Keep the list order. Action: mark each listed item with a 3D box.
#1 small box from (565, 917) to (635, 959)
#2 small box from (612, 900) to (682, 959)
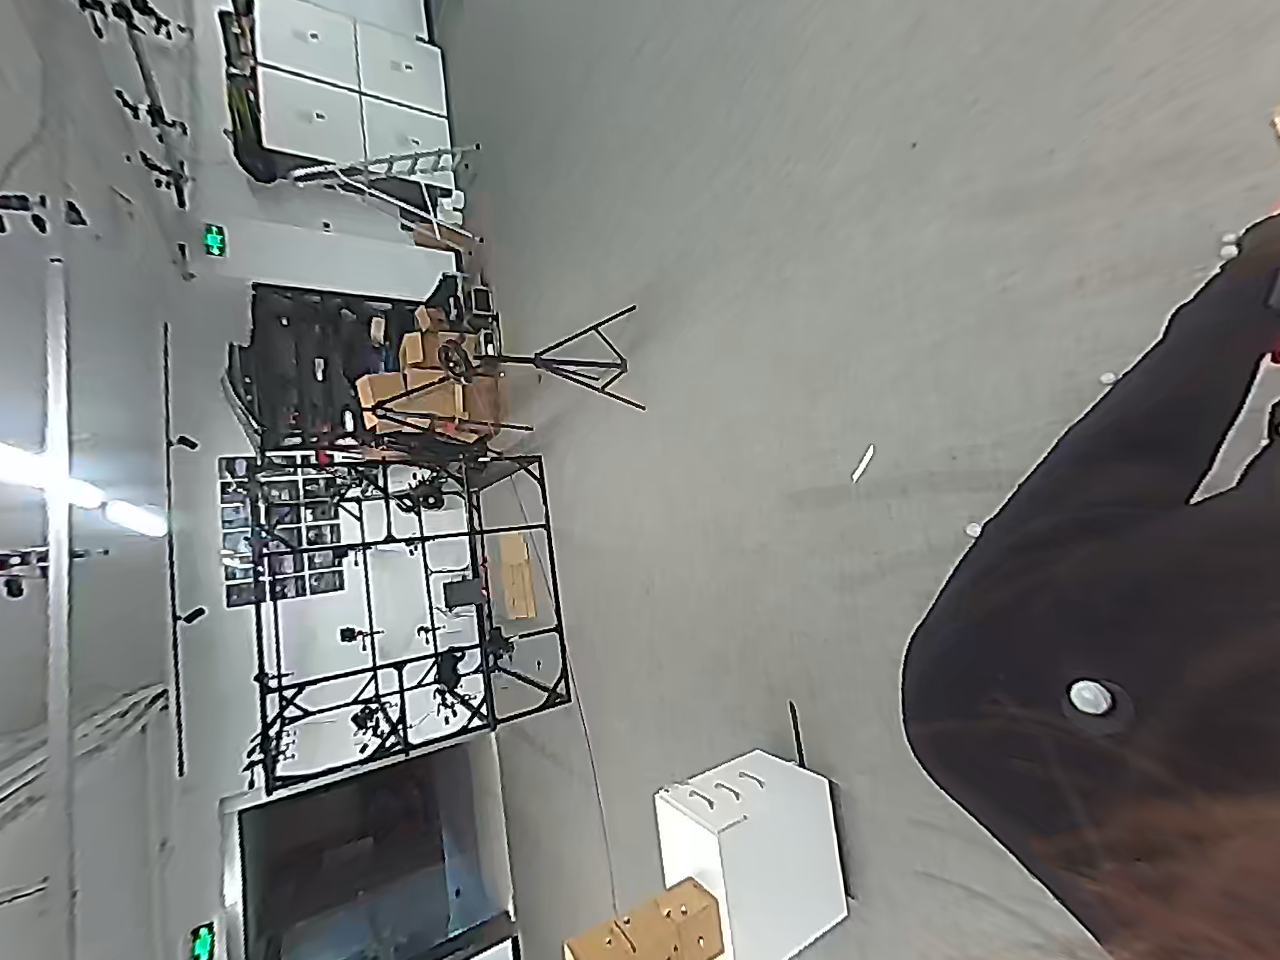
[{"bbox_3d":[-0.118,1.529,1.682,0.168,0.176,0.179,-13,83,60],"label":"small box"},{"bbox_3d":[0.022,1.527,1.767,0.179,0.176,0.168,-11,85,59],"label":"small box"}]
